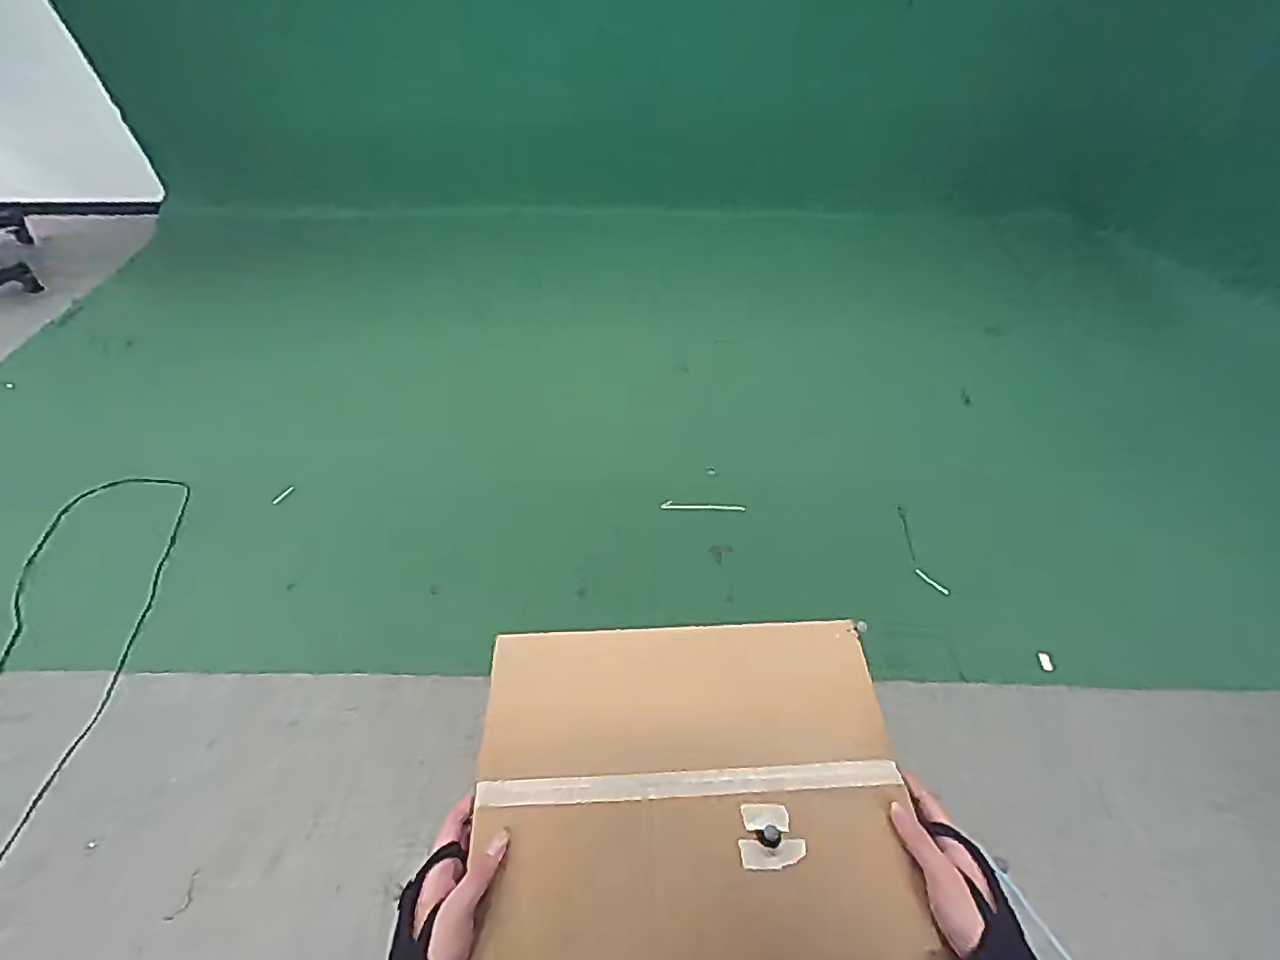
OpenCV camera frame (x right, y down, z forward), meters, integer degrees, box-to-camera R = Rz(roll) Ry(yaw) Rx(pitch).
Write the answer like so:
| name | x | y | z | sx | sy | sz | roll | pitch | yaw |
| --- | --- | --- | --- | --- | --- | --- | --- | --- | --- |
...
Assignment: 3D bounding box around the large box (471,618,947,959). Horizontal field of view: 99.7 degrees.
| name | x | y | z | sx | sy | sz | roll | pitch | yaw |
| --- | --- | --- | --- | --- | --- | --- | --- | --- | --- |
| large box | 0.048 | 0.383 | 0.645 | 0.408 | 0.320 | 0.320 | -2 | 51 | -2 |
